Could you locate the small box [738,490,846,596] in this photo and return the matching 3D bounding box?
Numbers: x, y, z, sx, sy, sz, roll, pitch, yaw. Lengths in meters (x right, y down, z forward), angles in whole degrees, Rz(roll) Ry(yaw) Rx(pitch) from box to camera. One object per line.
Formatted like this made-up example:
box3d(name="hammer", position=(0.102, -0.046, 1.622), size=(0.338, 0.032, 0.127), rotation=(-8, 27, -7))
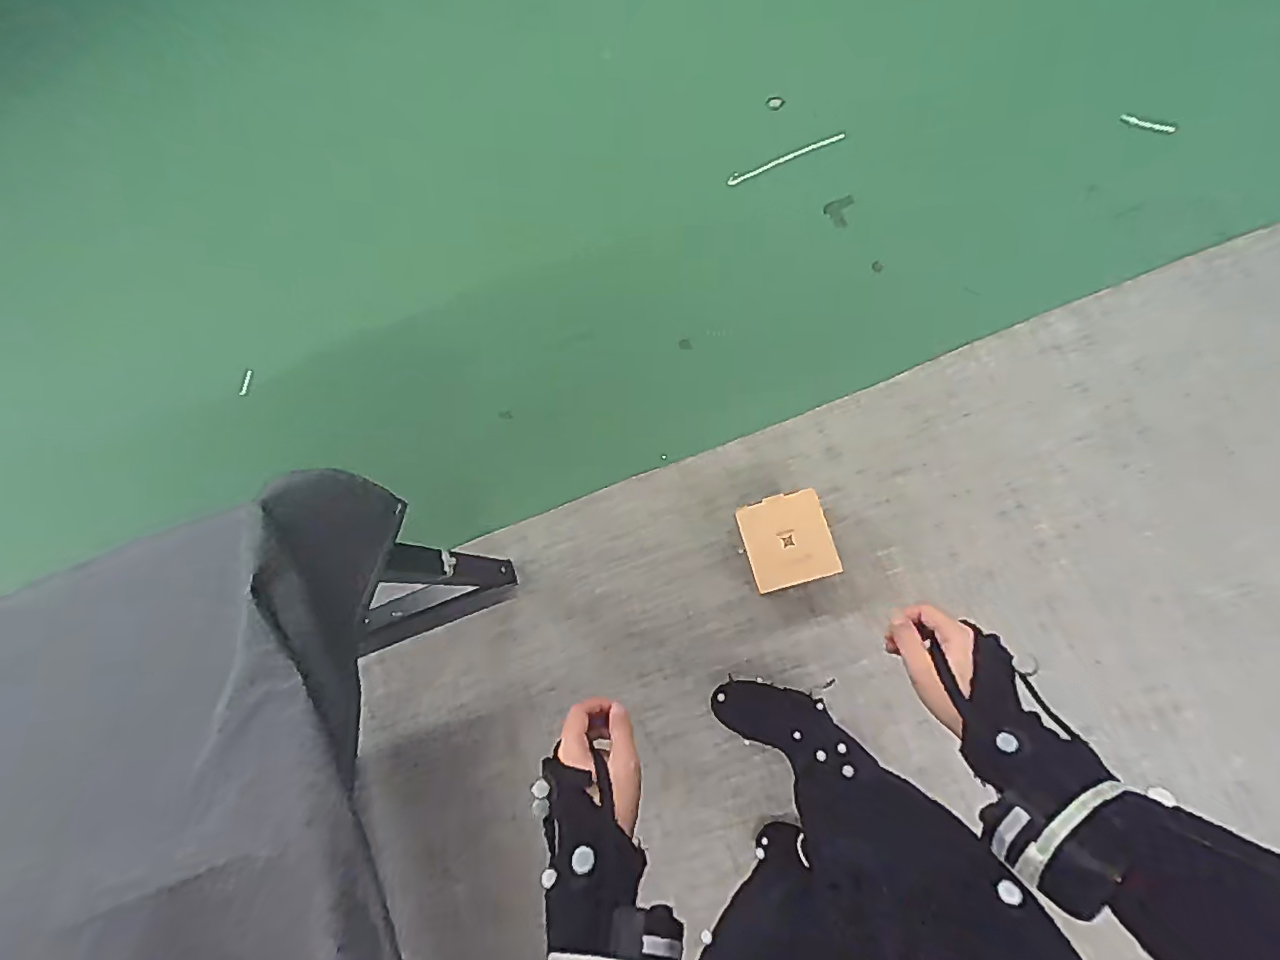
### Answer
box3d(name="small box", position=(0.306, 0.139, 1.129), size=(0.168, 0.176, 0.179), rotation=(-18, 76, 6))
